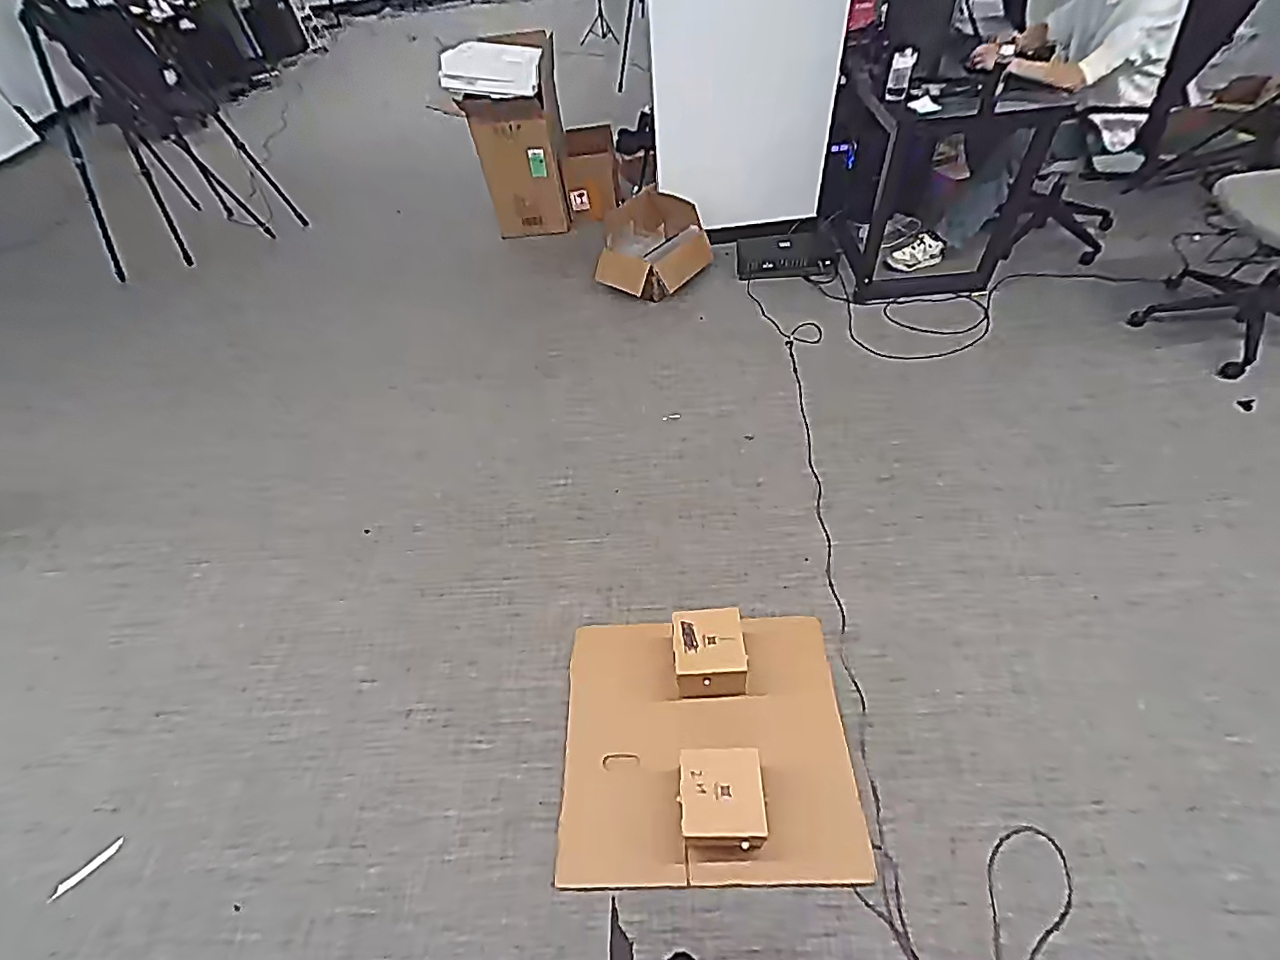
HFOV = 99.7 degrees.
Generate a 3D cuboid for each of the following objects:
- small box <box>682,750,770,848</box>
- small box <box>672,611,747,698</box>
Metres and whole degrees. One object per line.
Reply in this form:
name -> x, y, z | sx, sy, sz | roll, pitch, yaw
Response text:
small box -> 0.186, 0.710, 1.204 | 0.179, 0.176, 0.168 | -4, 50, 7
small box -> 0.181, 0.459, 1.413 | 0.179, 0.176, 0.168 | -5, 50, 4
